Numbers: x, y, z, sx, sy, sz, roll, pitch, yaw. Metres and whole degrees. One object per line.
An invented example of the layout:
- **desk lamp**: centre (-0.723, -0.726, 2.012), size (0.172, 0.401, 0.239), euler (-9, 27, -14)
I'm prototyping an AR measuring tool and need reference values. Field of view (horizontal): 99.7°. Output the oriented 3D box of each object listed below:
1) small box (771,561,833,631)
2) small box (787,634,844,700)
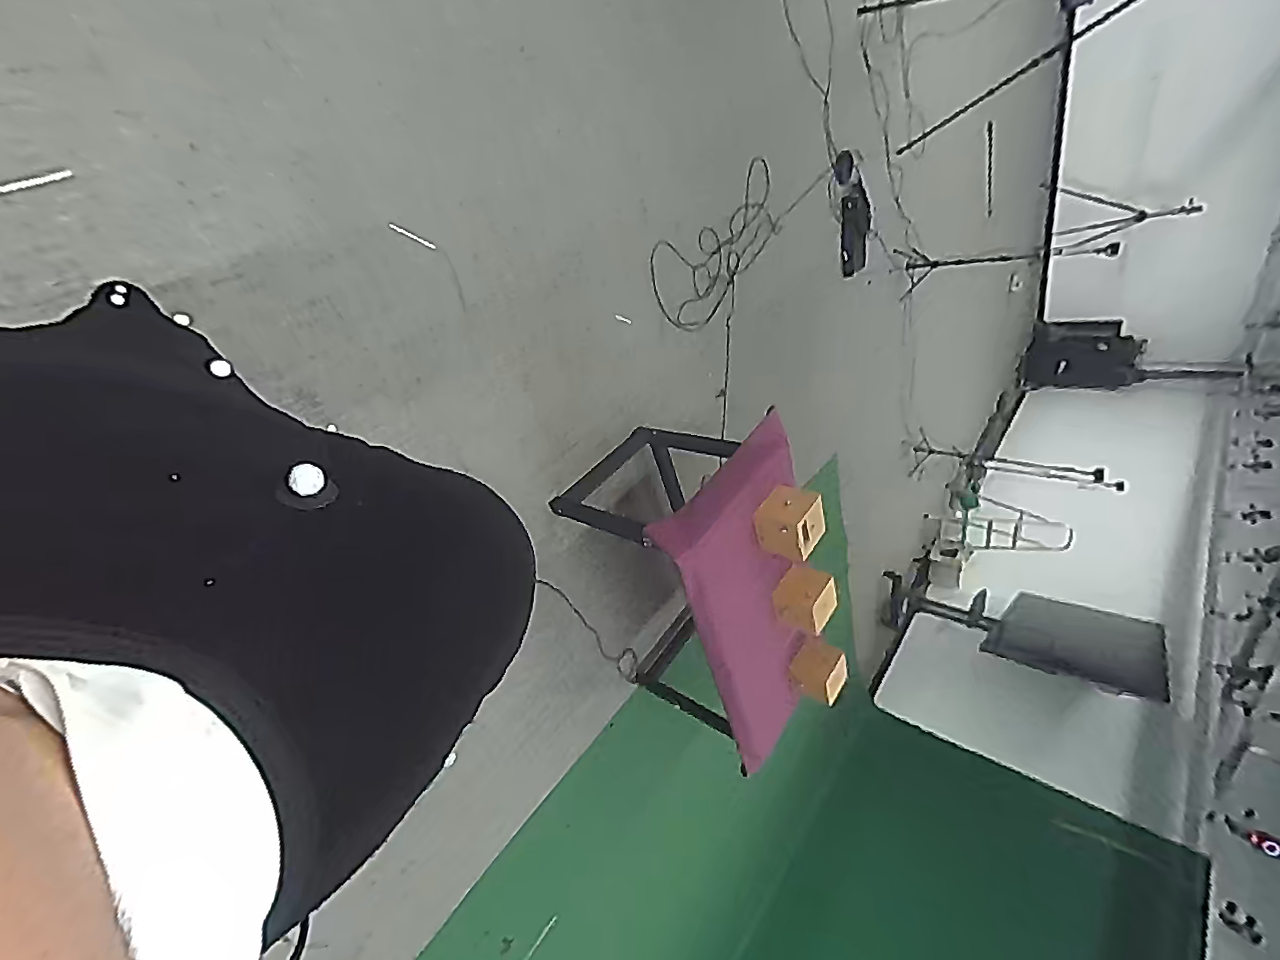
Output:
- **small box**: centre (0.627, 0.442, 2.091), size (0.179, 0.176, 0.168), euler (-42, 129, -31)
- **small box**: centre (0.754, 0.796, 2.320), size (0.179, 0.176, 0.168), euler (-42, 127, -33)
